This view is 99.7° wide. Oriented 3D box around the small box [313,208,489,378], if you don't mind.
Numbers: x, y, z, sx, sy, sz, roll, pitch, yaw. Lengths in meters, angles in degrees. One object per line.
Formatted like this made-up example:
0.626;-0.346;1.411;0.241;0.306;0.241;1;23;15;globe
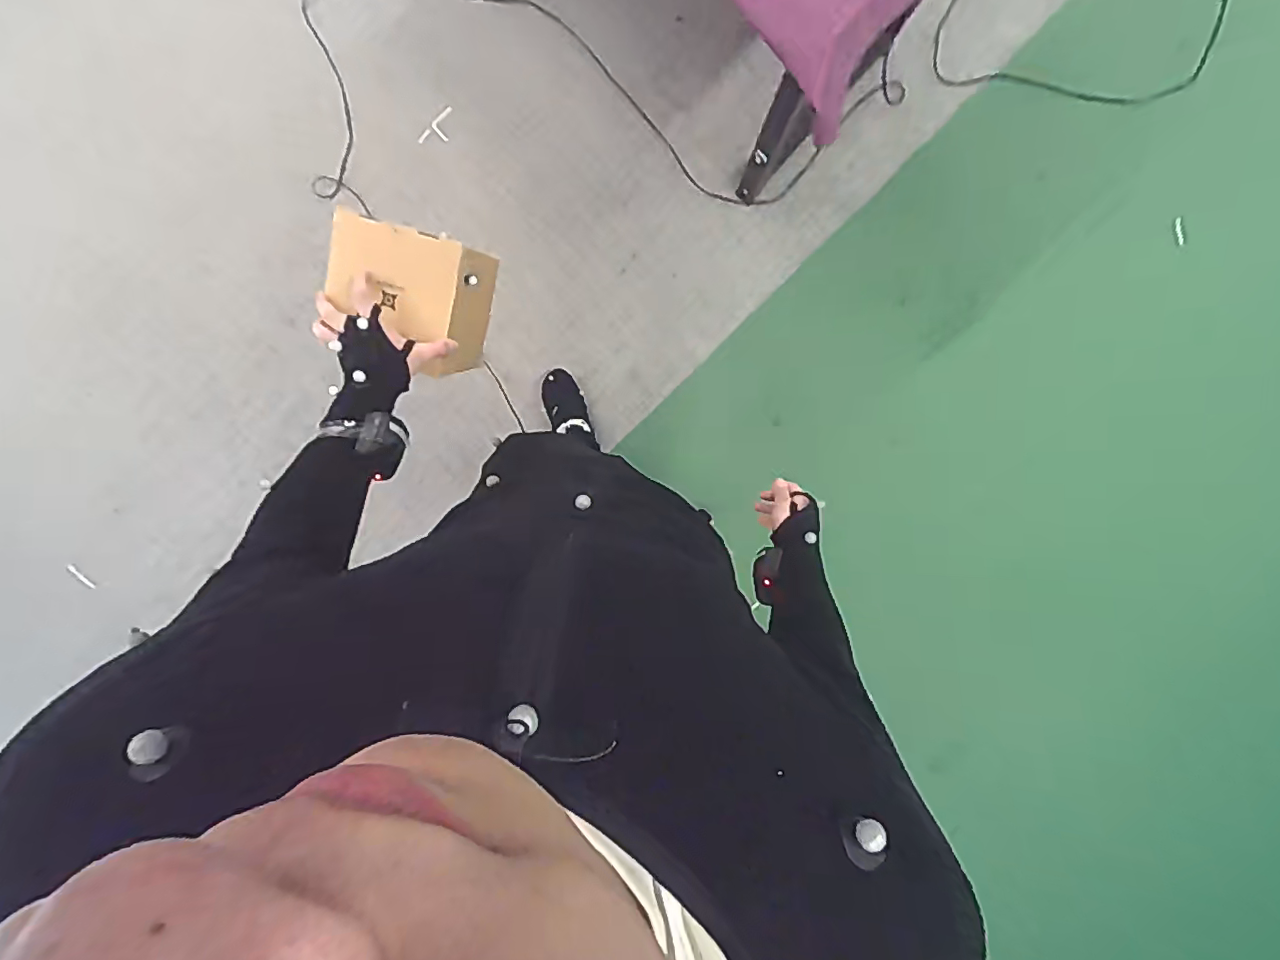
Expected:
-0.328;-0.256;0.768;0.168;0.176;0.179;14;105;-2;small box
